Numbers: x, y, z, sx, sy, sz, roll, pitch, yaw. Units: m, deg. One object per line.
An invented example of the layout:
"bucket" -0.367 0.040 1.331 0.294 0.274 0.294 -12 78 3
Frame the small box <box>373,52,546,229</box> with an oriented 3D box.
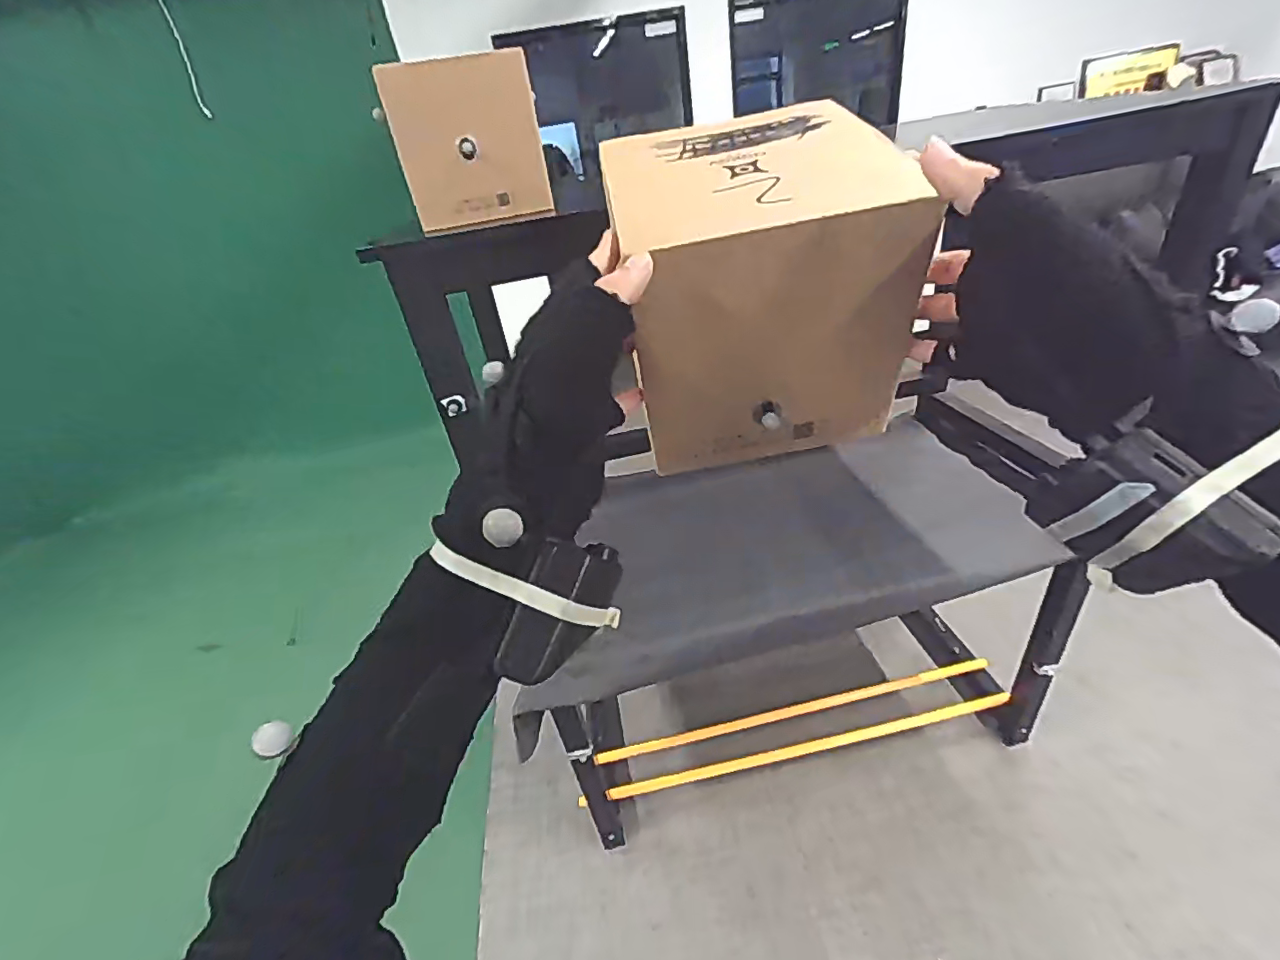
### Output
"small box" -0.230 -0.440 0.720 0.168 0.176 0.179 -15 32 -10
